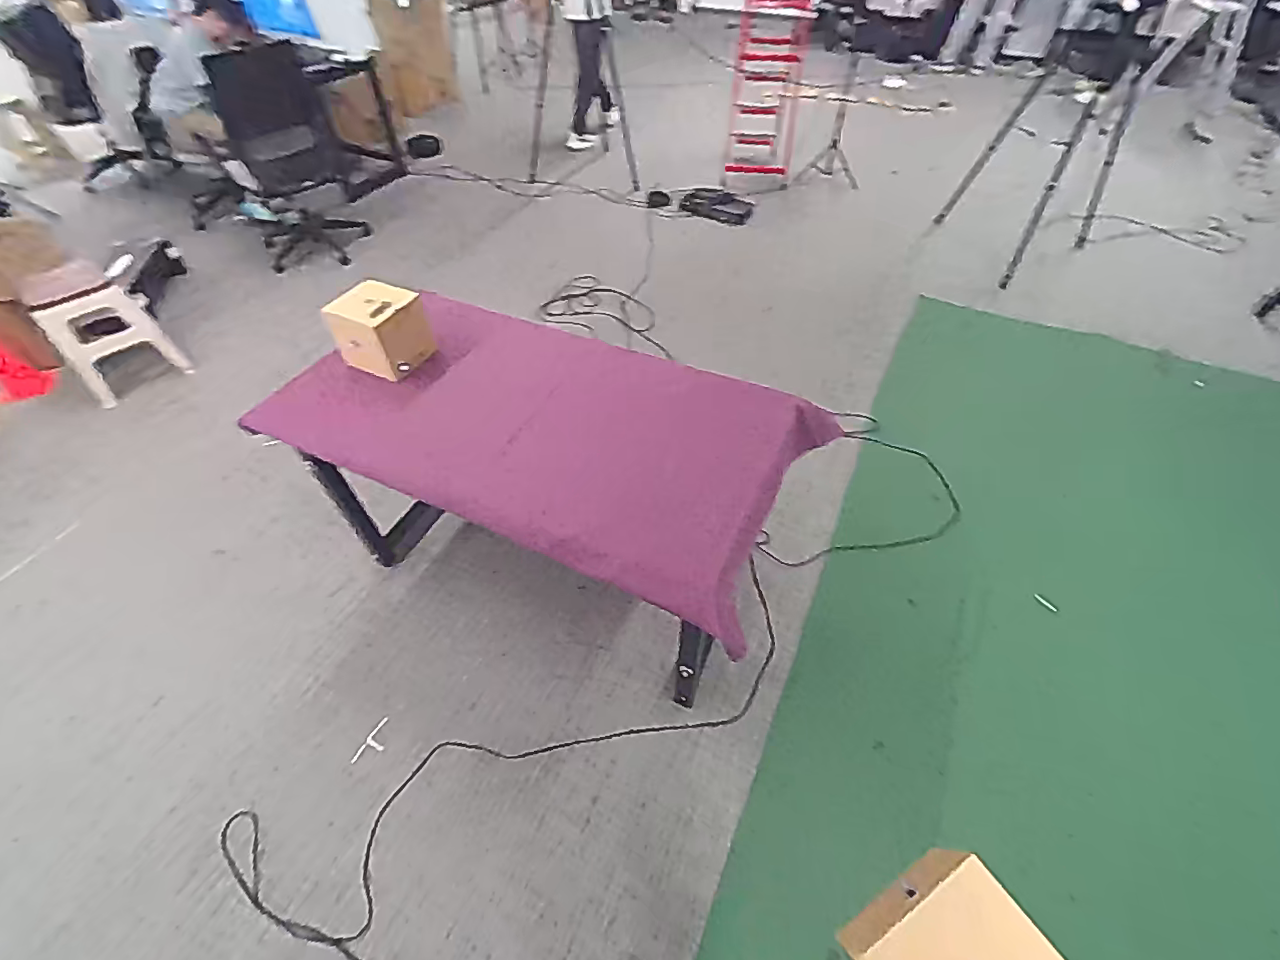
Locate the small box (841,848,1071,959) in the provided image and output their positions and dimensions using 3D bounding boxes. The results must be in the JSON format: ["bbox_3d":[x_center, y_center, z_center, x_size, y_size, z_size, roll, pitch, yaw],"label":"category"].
[{"bbox_3d":[0.346,0.537,0.594,0.179,0.176,0.168,-33,57,-9],"label":"small box"}]

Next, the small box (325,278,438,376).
[{"bbox_3d":[-0.658,-0.393,1.401,0.179,0.176,0.168,20,52,18],"label":"small box"}]
